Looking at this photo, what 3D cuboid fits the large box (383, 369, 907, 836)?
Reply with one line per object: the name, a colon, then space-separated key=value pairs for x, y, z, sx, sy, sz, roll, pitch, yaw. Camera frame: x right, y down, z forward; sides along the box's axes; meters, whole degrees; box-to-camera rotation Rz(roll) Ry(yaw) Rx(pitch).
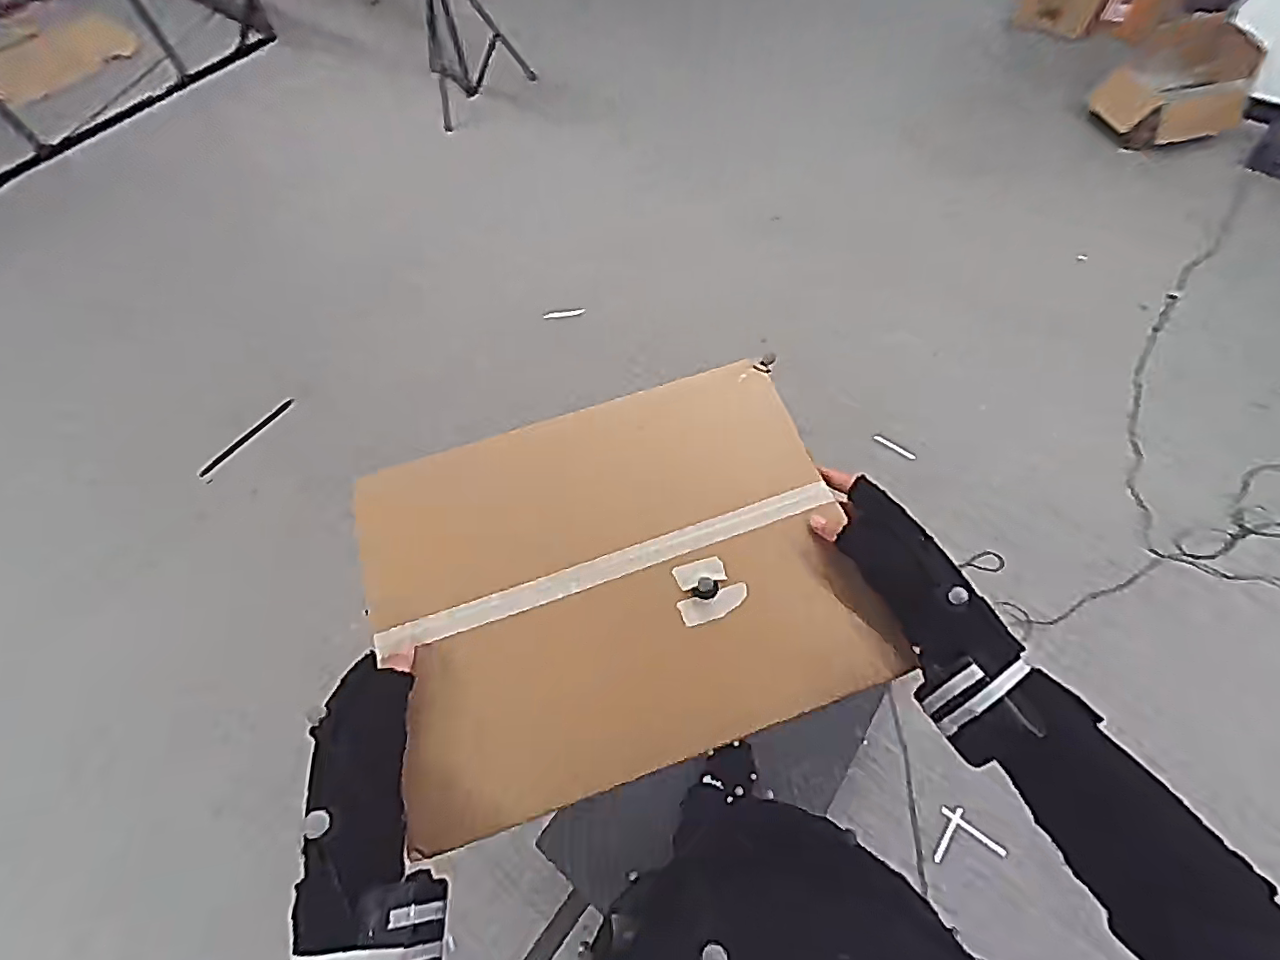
large box: x=-0.010 y=0.136 z=0.615 sx=0.408 sy=0.320 sz=0.320 roll=-17 pitch=68 yaw=-6
